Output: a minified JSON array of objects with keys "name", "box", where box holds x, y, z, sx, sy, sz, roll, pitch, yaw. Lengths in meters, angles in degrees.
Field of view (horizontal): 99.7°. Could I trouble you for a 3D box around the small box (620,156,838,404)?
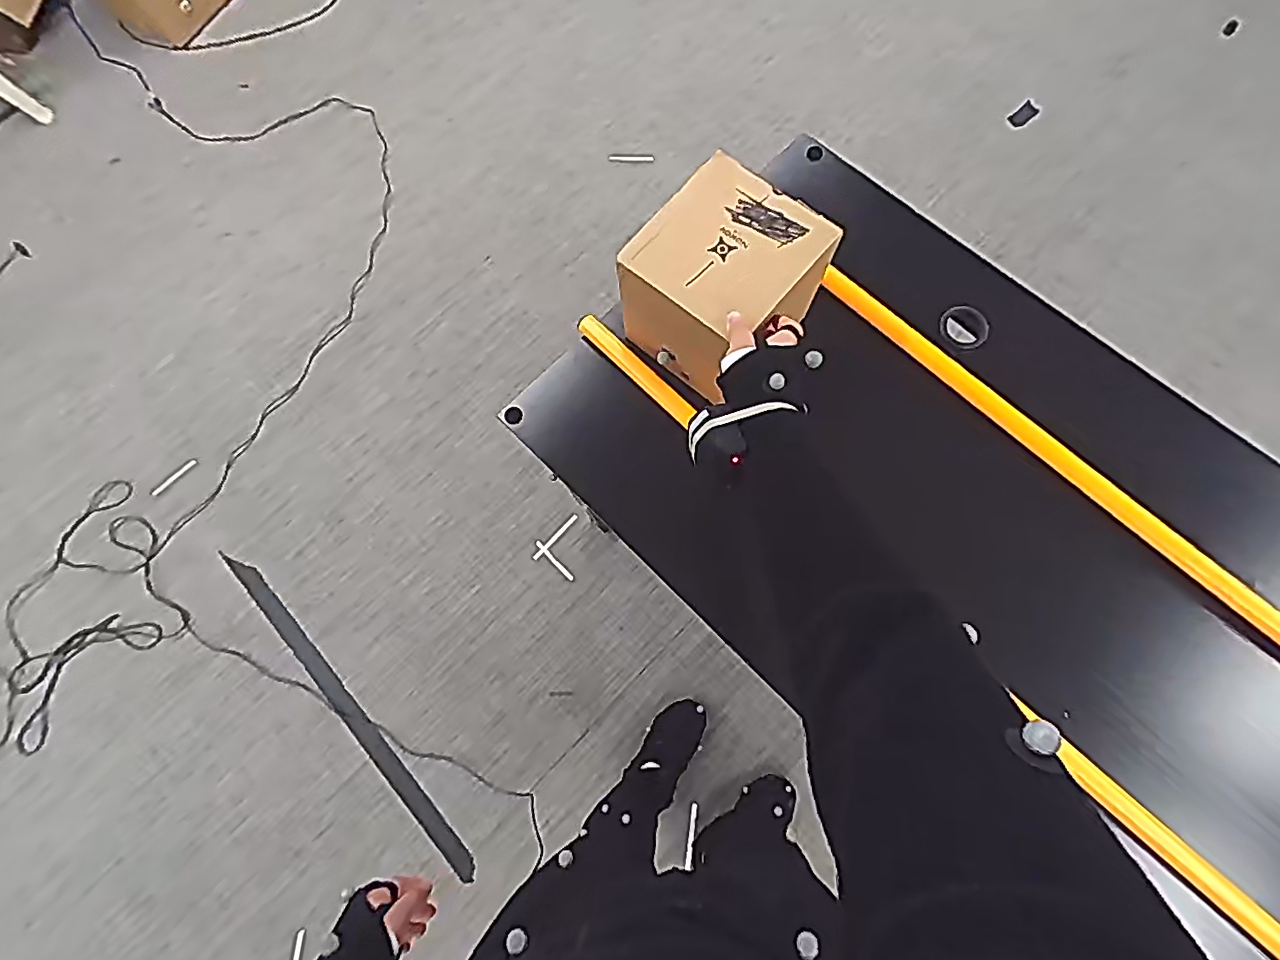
[{"name":"small box","box":[0.095,-0.224,0.642,0.168,0.176,0.179,39,81,11]}]
